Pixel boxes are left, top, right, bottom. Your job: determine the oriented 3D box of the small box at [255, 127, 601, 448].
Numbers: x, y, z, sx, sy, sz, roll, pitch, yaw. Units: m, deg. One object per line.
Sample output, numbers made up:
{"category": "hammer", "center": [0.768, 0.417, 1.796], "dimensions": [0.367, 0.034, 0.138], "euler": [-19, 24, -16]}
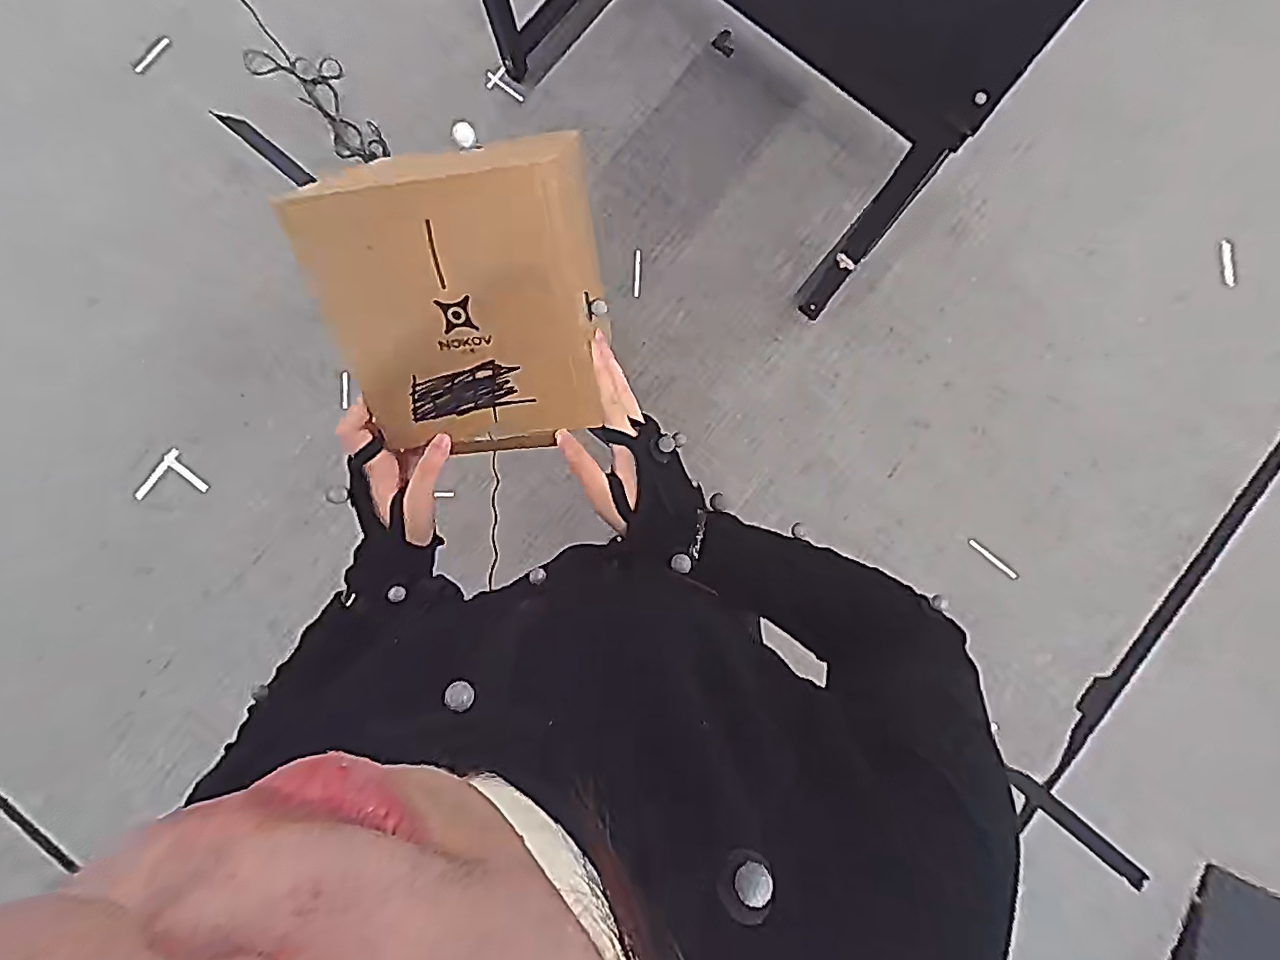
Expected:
{"category": "small box", "center": [-0.125, -0.148, 0.408], "dimensions": [0.168, 0.176, 0.179], "euler": [-7, 126, 3]}
